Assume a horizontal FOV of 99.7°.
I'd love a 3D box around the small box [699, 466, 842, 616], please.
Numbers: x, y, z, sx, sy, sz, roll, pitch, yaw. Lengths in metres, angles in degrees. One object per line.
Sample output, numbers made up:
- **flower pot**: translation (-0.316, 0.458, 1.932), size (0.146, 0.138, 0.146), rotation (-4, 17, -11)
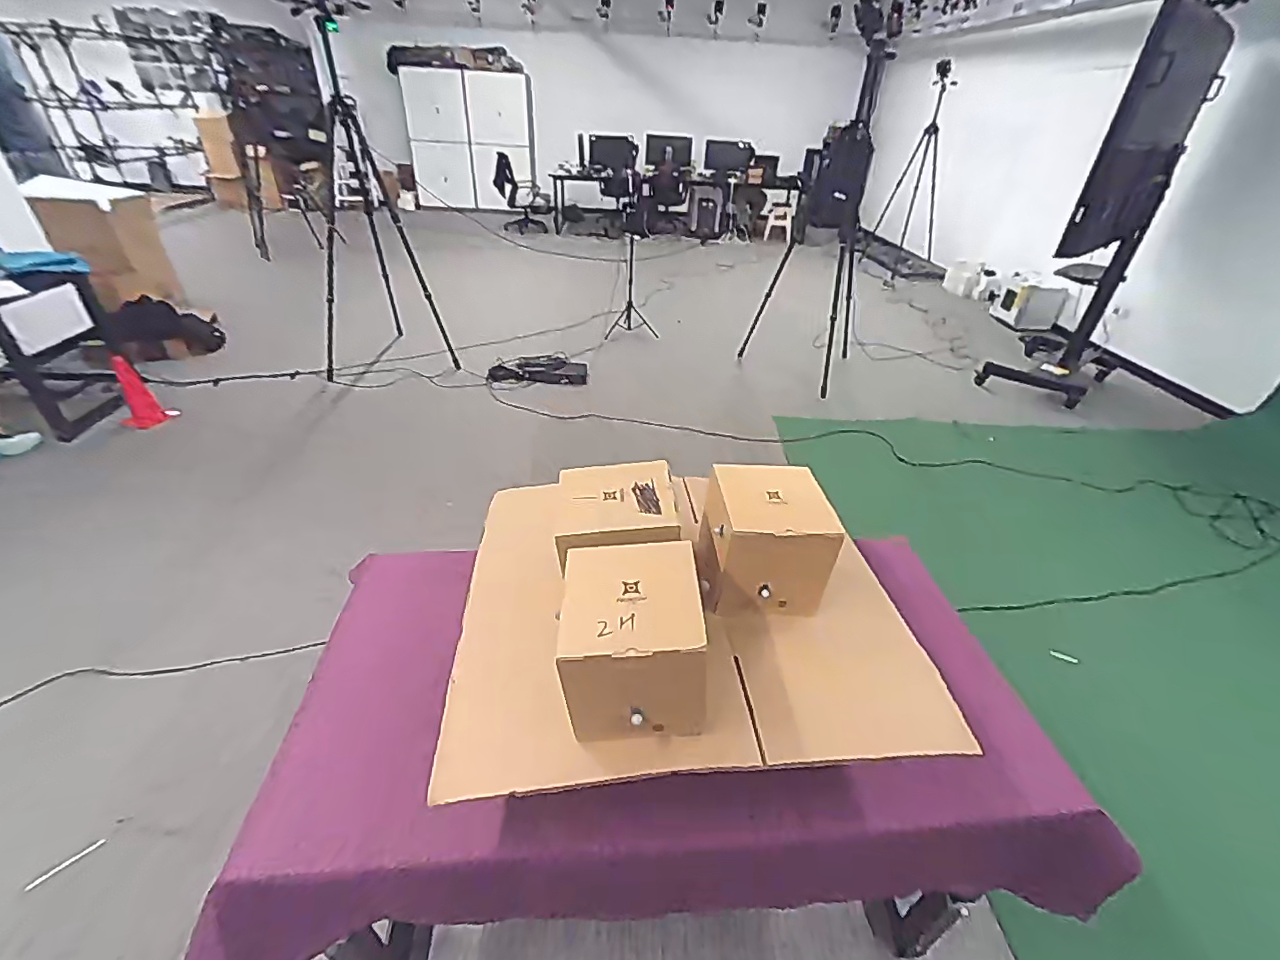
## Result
- **small box**: translation (0.195, 0.096, 0.872), size (0.168, 0.176, 0.179), rotation (2, 36, -5)
